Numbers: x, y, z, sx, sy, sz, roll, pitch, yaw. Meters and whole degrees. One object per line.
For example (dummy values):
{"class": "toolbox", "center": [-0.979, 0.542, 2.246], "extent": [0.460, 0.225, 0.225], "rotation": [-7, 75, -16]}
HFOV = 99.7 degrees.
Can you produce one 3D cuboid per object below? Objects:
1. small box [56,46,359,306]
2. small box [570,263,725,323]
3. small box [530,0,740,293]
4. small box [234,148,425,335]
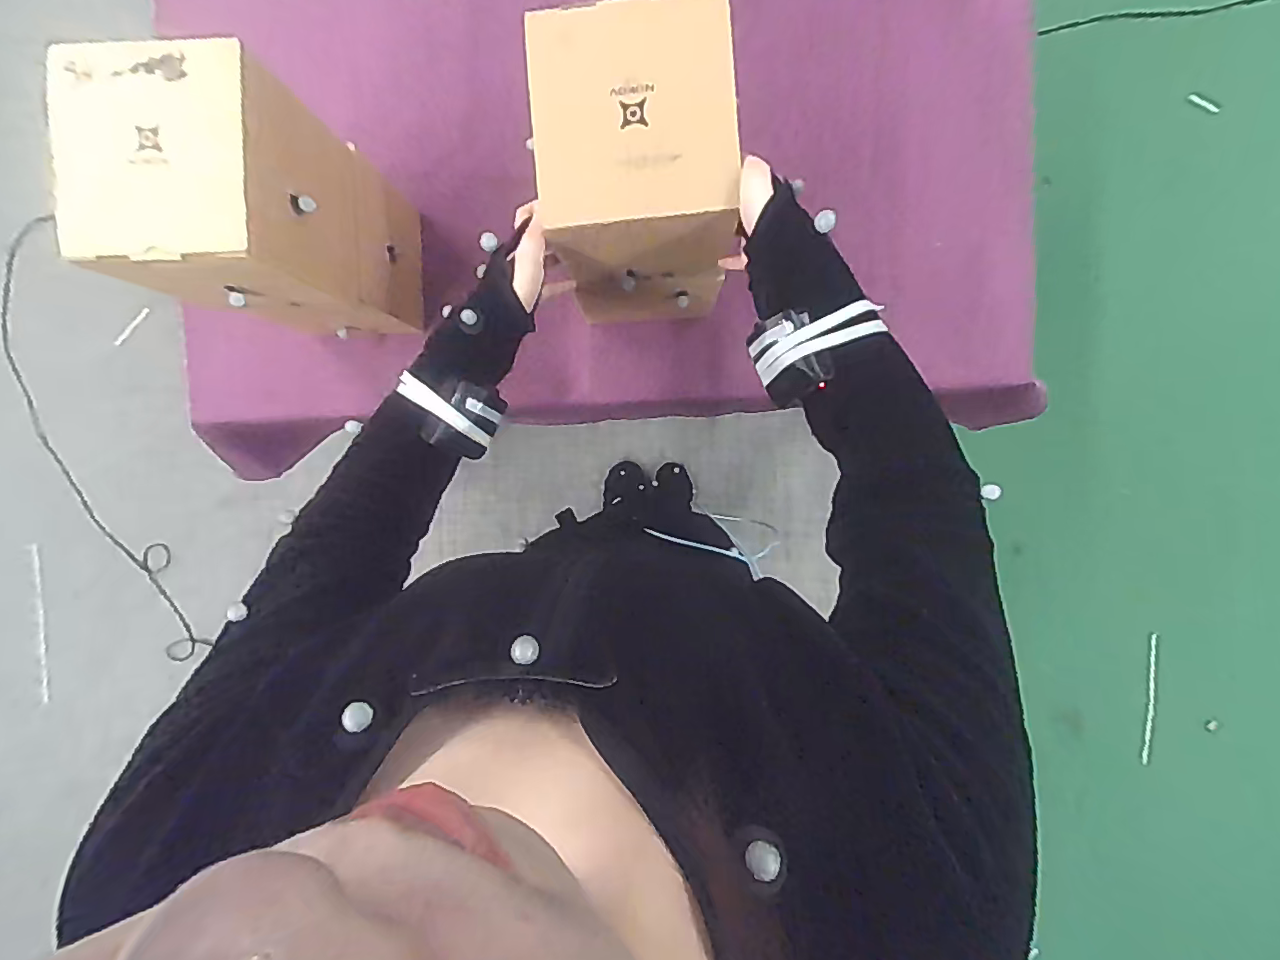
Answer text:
{"class": "small box", "center": [-0.400, -0.276, 0.532], "extent": [0.168, 0.176, 0.179], "rotation": [0, 94, 1]}
{"class": "small box", "center": [0.008, -0.301, 0.682], "extent": [0.179, 0.176, 0.168], "rotation": [-2, 92, 2]}
{"class": "small box", "center": [-0.001, -0.297, 0.517], "extent": [0.168, 0.176, 0.179], "rotation": [-4, 92, 4]}
{"class": "small box", "center": [-0.391, -0.293, 0.695], "extent": [0.168, 0.176, 0.179], "rotation": [-1, 94, 2]}
